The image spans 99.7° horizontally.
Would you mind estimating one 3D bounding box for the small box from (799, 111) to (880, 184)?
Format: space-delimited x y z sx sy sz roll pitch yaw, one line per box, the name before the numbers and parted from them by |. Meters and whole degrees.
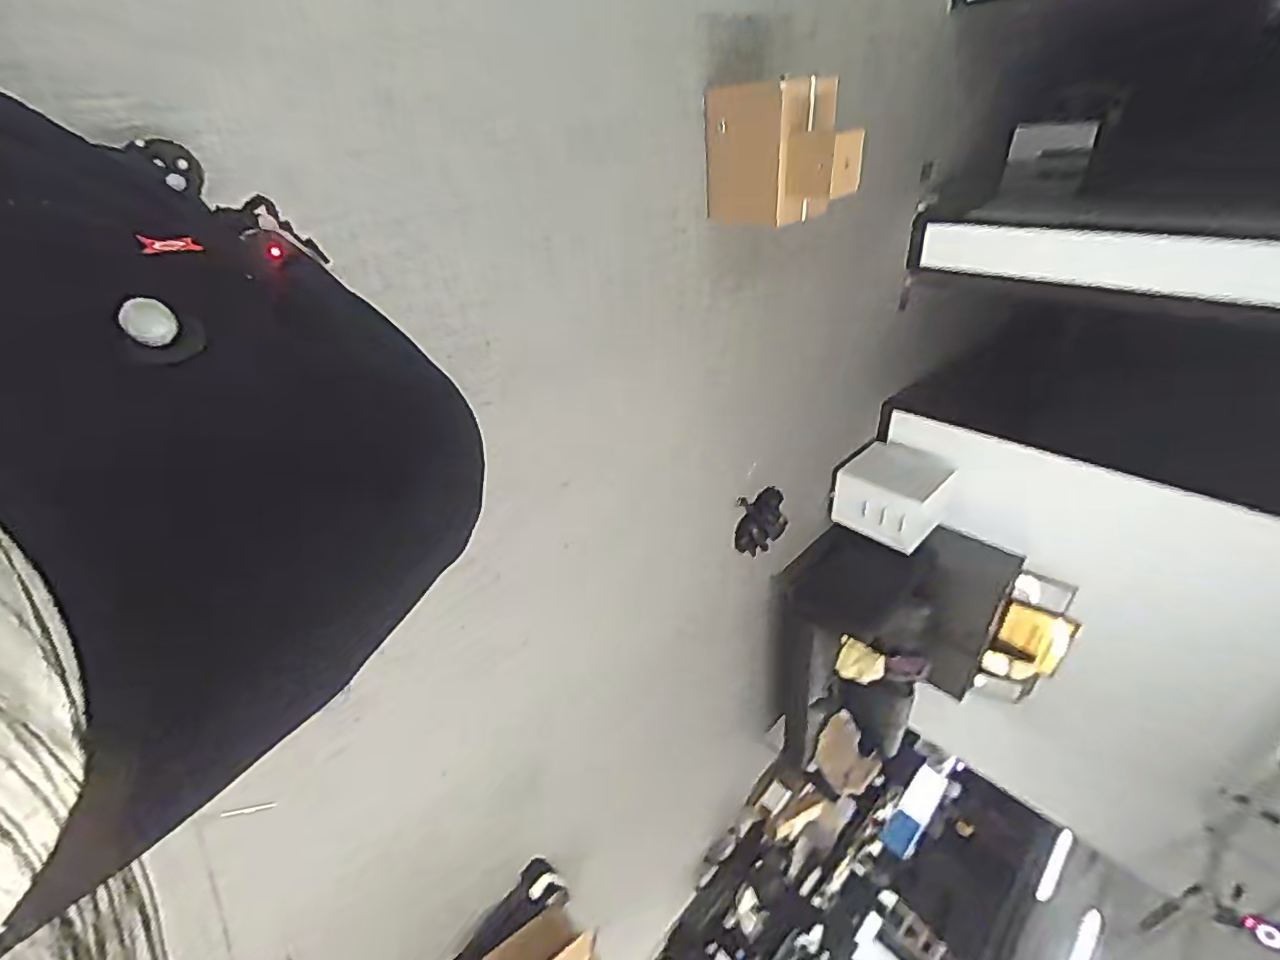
small box | 0.615 -1.032 1.681 0.168 0.176 0.179 -30 132 -28
